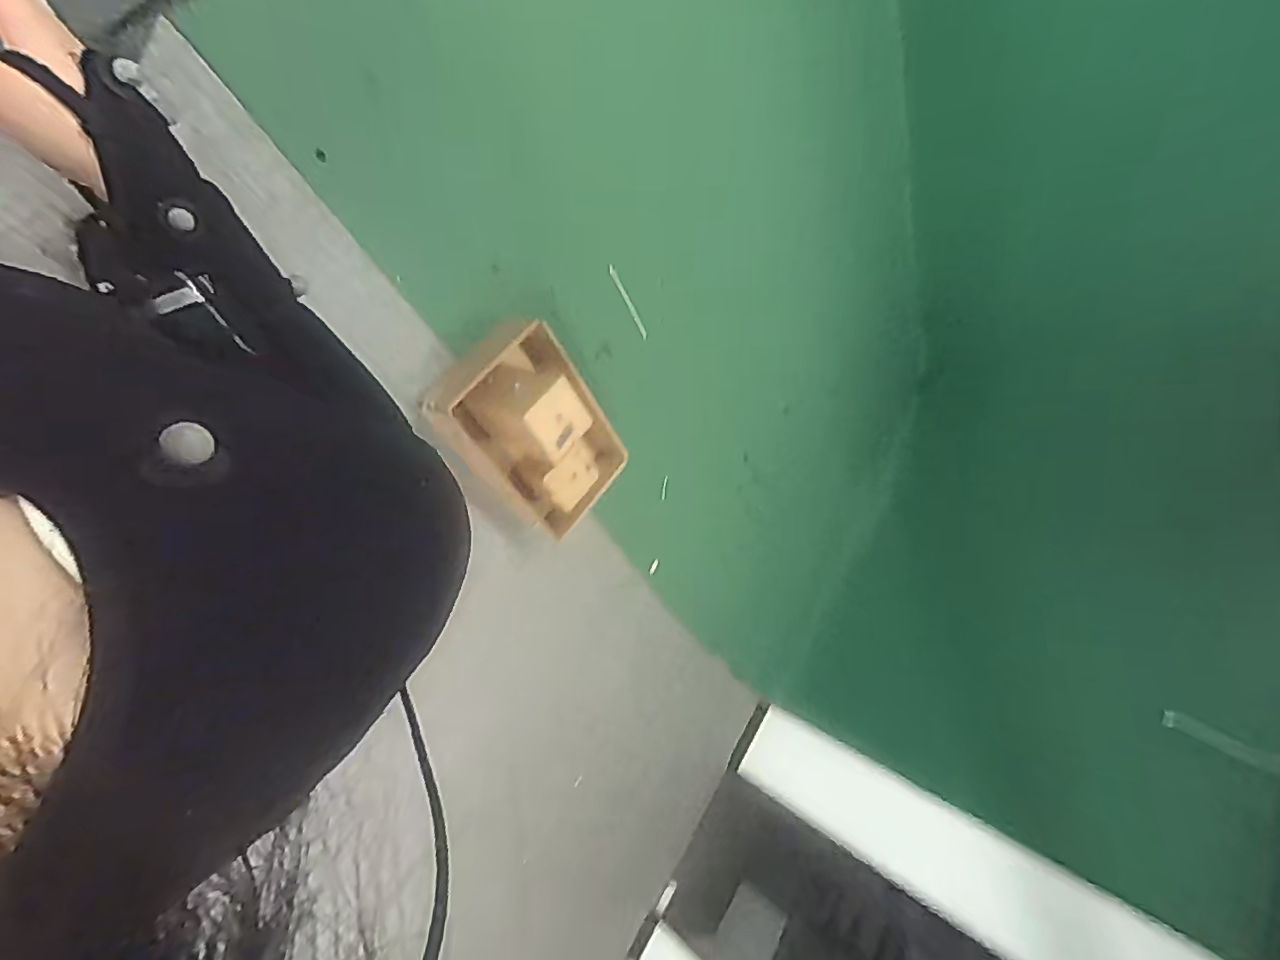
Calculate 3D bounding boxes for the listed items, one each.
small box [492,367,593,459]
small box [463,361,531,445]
[{"bbox_3d":[-0.265,-0.188,1.474,0.168,0.176,0.179,-52,135,-21],"label":"small box"},{"bbox_3d":[-0.381,-0.232,1.582,0.168,0.176,0.179,-52,137,-20],"label":"small box"}]
